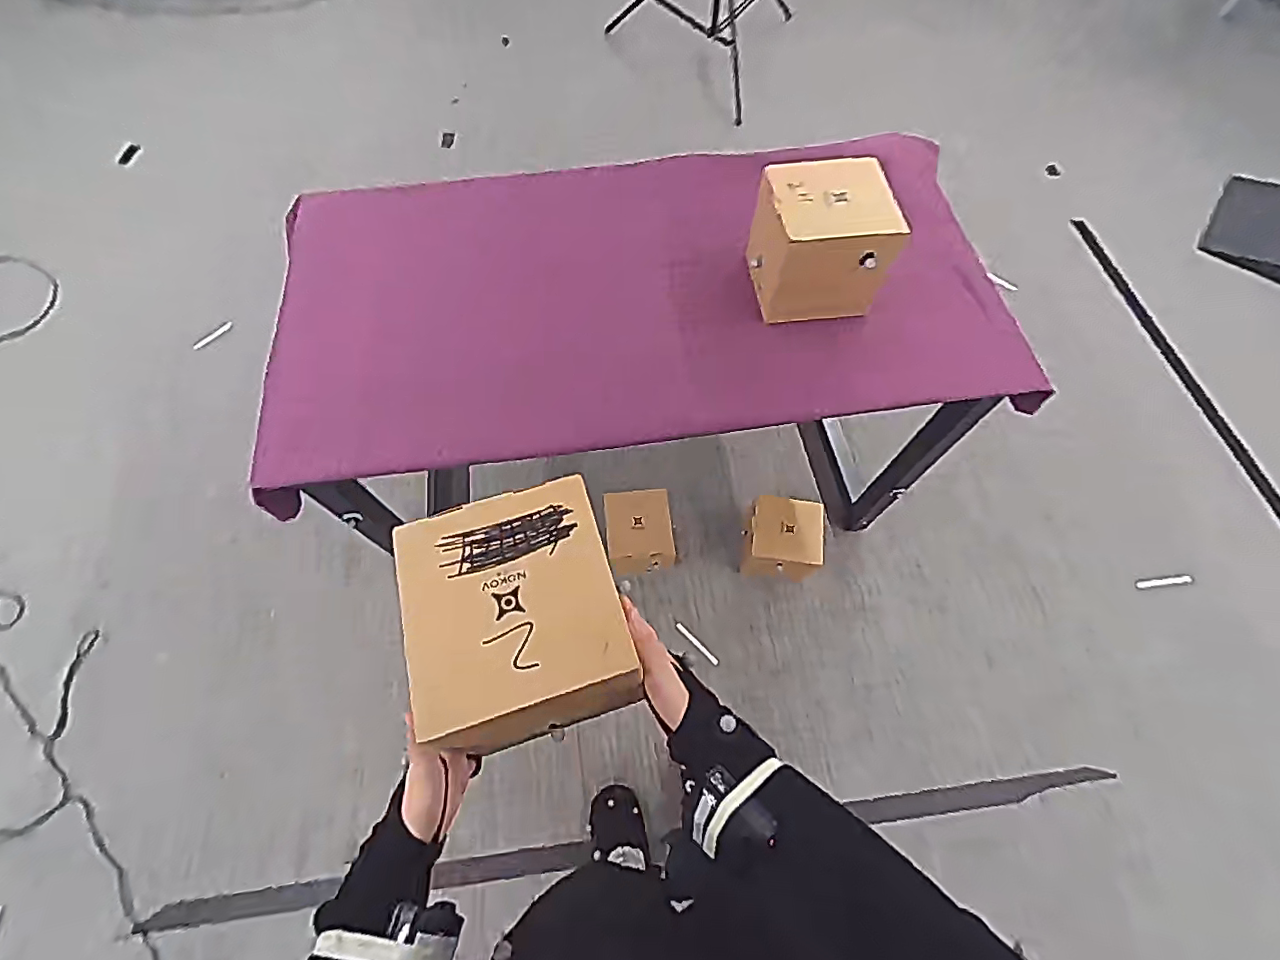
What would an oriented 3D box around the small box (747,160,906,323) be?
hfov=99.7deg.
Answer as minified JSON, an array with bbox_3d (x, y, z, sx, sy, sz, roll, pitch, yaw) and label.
[{"bbox_3d":[0.282,-0.373,0.862,0.179,0.176,0.168,-6,64,-2],"label":"small box"}]

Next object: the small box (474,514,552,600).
[{"bbox_3d":[-0.323,0.206,1.397,0.168,0.176,0.179,-7,64,-3],"label":"small box"}]

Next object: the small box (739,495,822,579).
[{"bbox_3d":[0.367,0.156,1.421,0.179,0.176,0.168,7,66,5],"label":"small box"}]

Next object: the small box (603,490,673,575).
[{"bbox_3d":[-0.006,0.144,1.427,0.168,0.176,0.179,-6,64,-3],"label":"small box"}]
